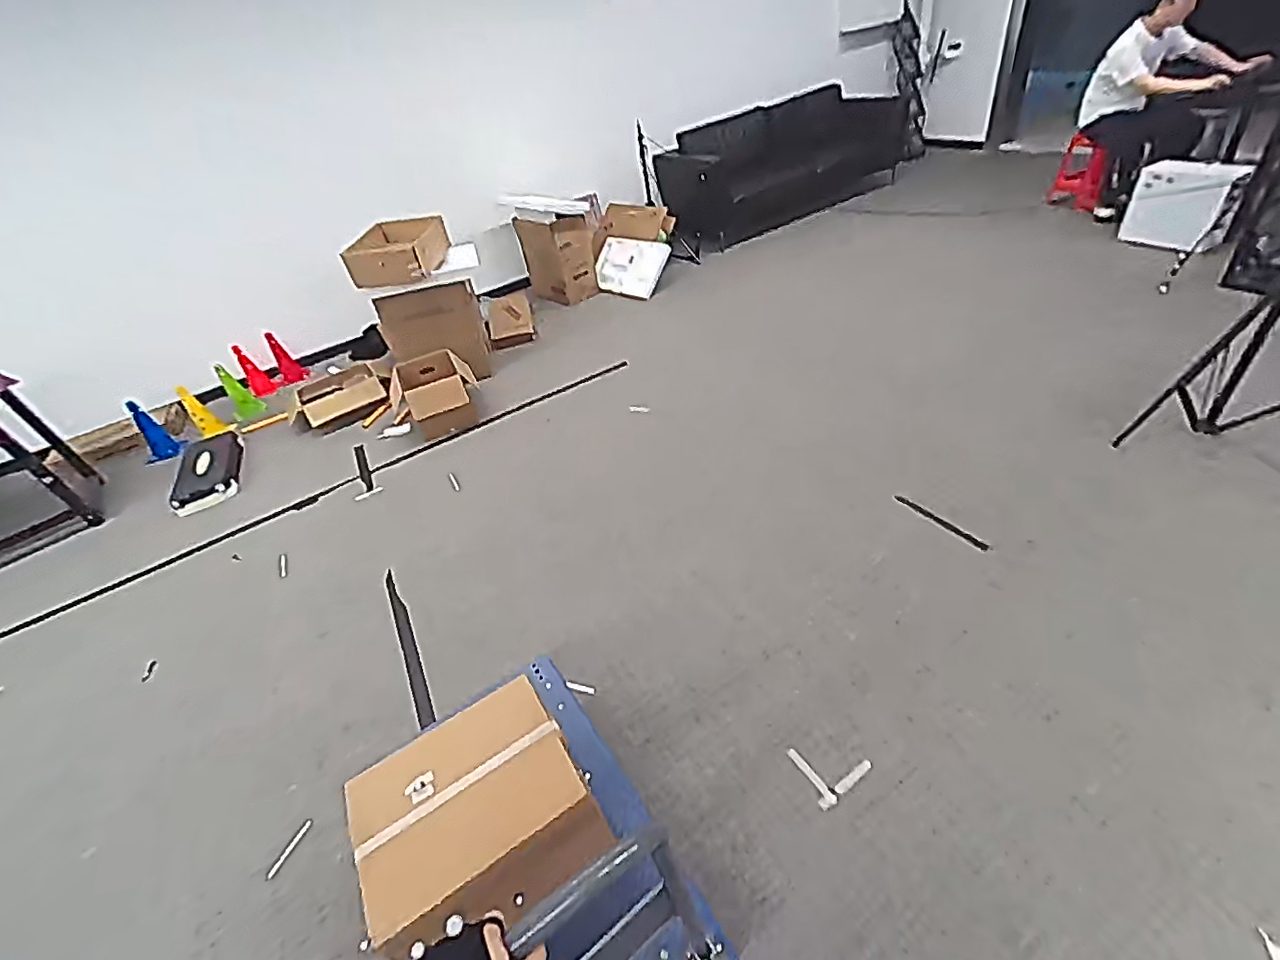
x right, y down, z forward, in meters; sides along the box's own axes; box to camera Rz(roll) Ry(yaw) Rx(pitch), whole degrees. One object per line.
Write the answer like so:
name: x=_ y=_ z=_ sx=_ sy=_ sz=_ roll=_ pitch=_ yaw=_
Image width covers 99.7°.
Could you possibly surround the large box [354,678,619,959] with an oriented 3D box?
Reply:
large box: x=-0.310 y=0.717 z=1.144 sx=0.408 sy=0.320 sz=0.320 roll=-29 pitch=40 yaw=-18
